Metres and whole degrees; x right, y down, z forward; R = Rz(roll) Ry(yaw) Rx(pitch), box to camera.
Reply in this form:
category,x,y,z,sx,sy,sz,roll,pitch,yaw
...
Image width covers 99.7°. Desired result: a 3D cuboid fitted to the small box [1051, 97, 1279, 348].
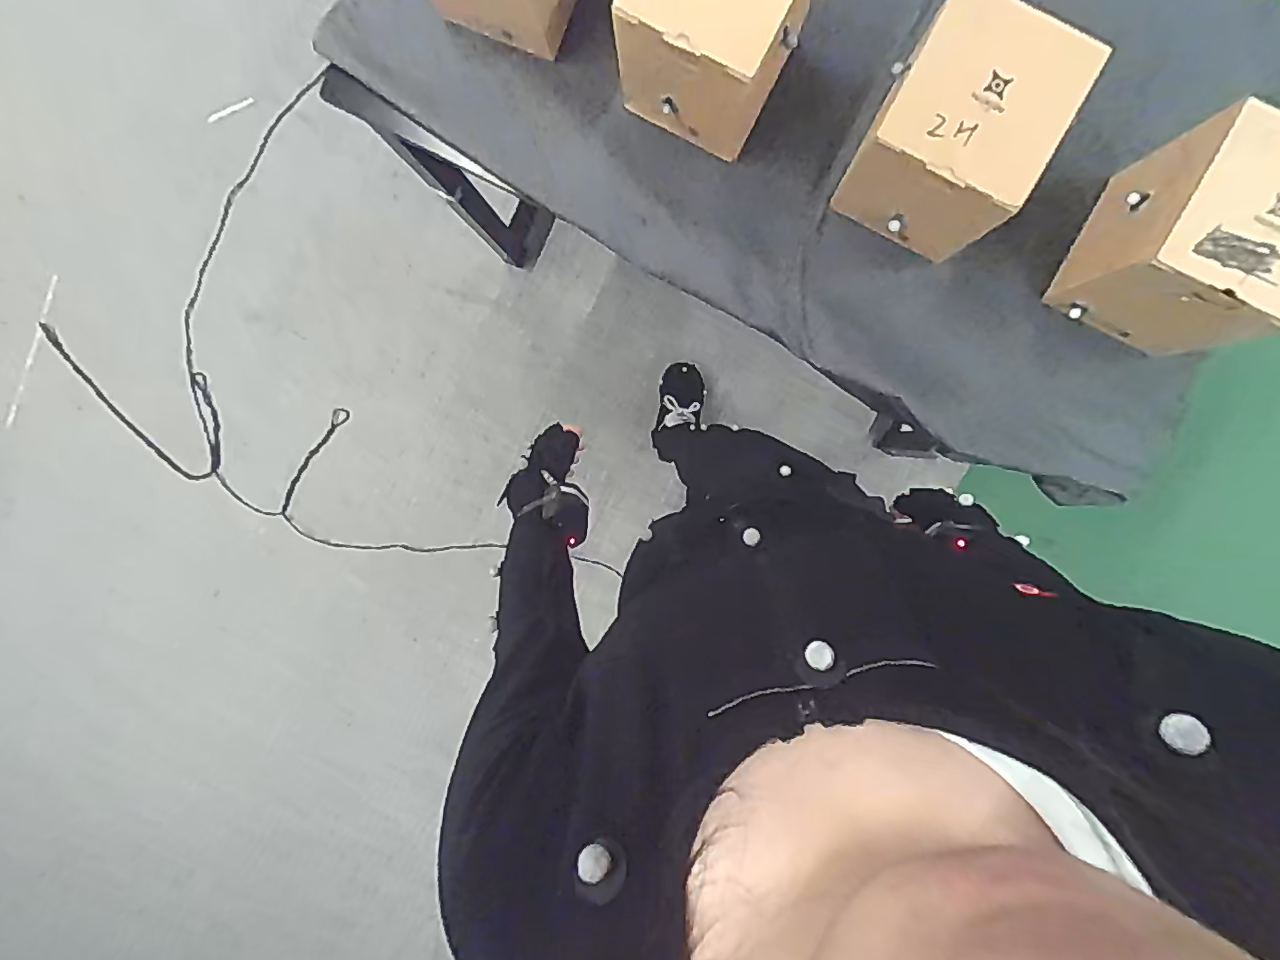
category,x,y,z,sx,sy,sz,roll,pitch,yaw
small box,0.625,-0.270,0.616,0.168,0.176,0.179,27,95,0

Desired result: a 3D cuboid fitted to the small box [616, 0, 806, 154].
category,x,y,z,sx,sy,sz,roll,pitch,yaw
small box,0.086,-0.528,0.621,0.168,0.176,0.179,27,96,0

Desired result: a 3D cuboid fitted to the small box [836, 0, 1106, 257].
category,x,y,z,sx,sy,sz,roll,pitch,yaw
small box,0.353,-0.393,0.619,0.168,0.176,0.179,28,96,0
